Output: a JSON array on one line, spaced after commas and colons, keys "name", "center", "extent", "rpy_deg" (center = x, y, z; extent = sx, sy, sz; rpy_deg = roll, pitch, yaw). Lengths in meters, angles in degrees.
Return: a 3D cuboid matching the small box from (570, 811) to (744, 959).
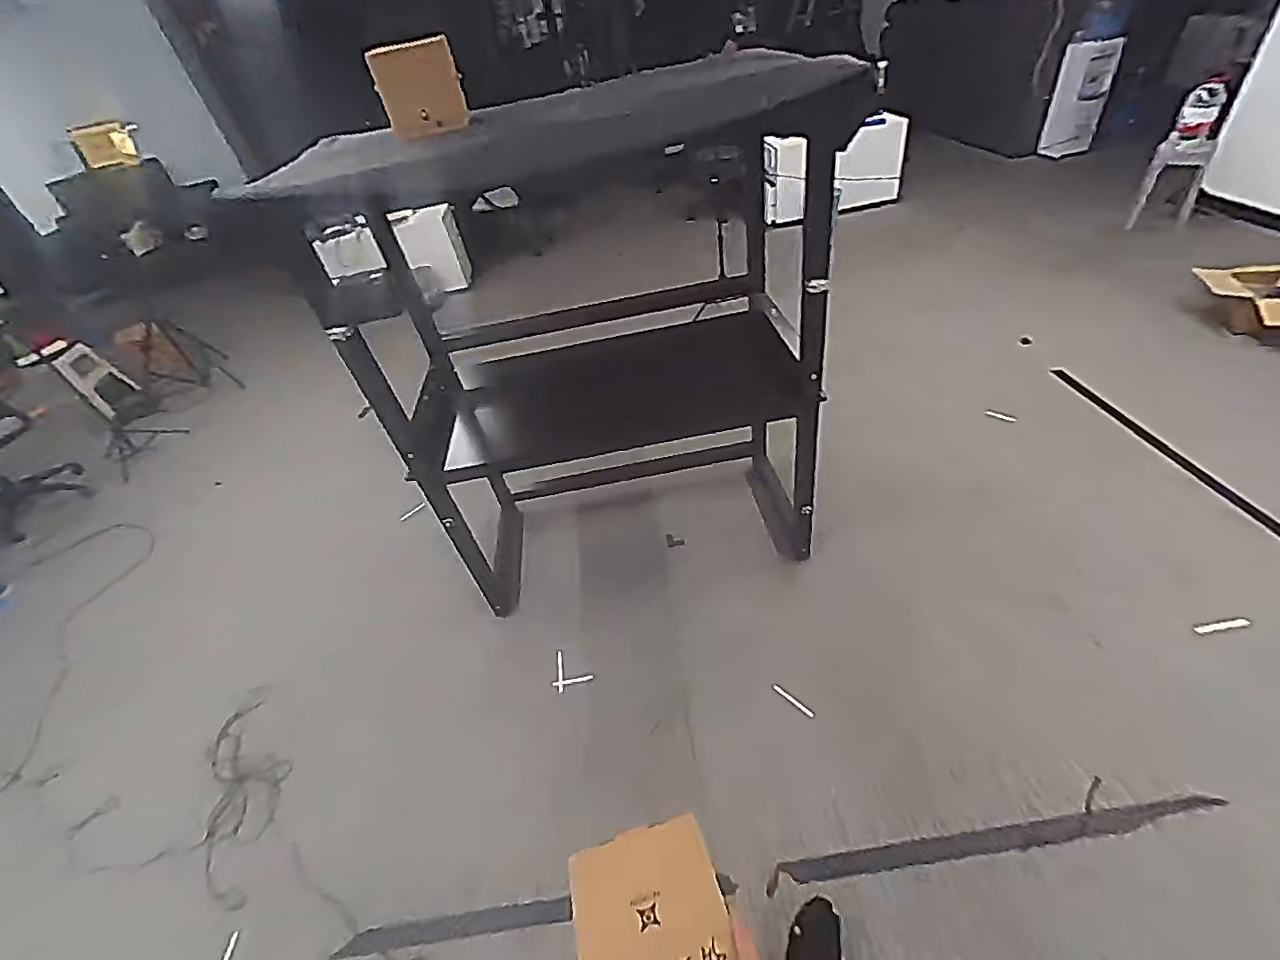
[{"name": "small box", "center": [0.023, 0.541, 0.628], "extent": [0.168, 0.176, 0.179], "rpy_deg": [-15, 25, -8]}]
